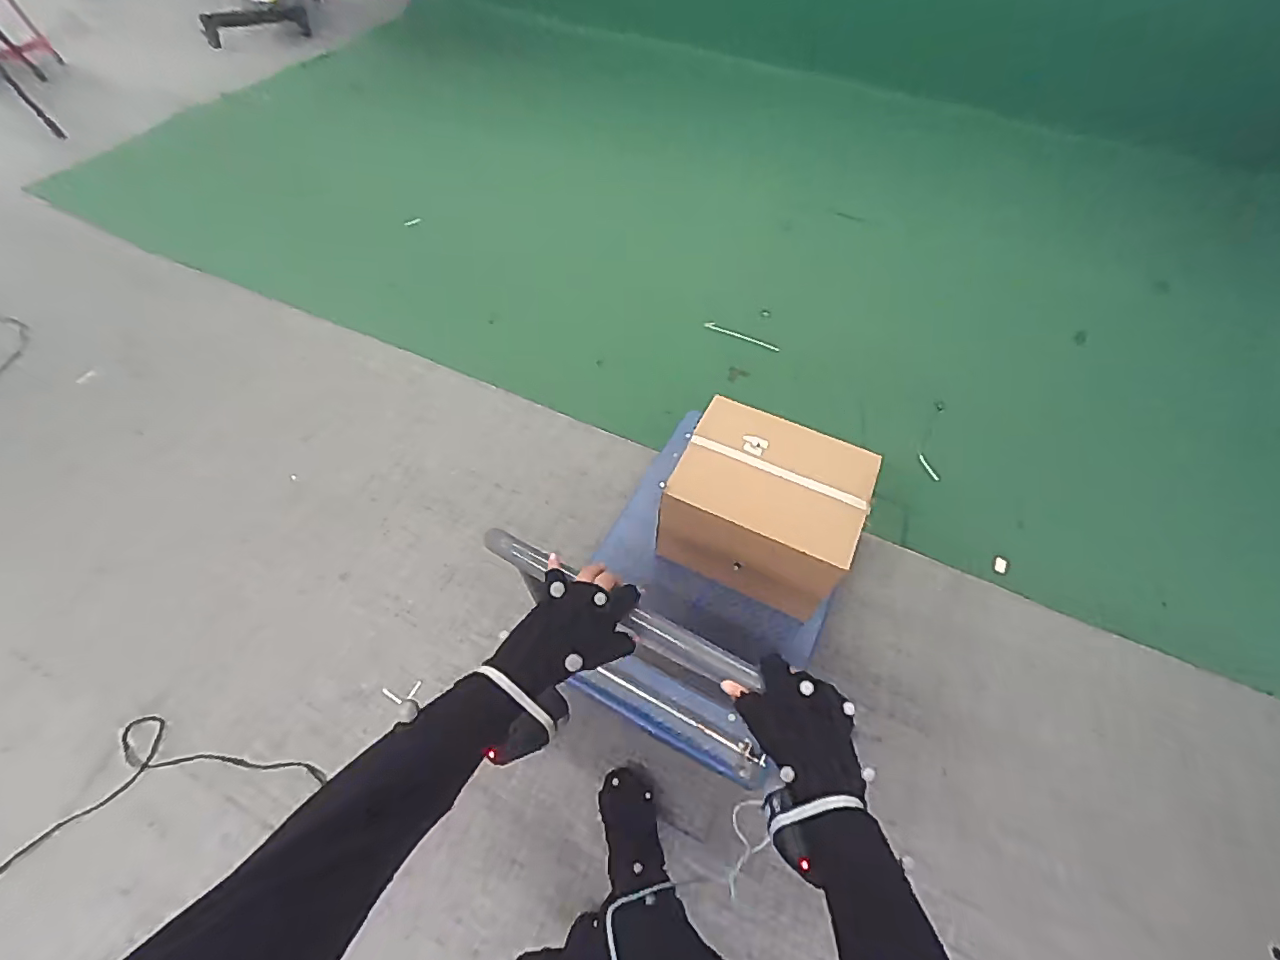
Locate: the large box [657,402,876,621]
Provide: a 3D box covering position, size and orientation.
[{"bbox_3d":[0.284,0.079,1.296,0.408,0.320,0.320,23,58,15],"label":"large box"}]
